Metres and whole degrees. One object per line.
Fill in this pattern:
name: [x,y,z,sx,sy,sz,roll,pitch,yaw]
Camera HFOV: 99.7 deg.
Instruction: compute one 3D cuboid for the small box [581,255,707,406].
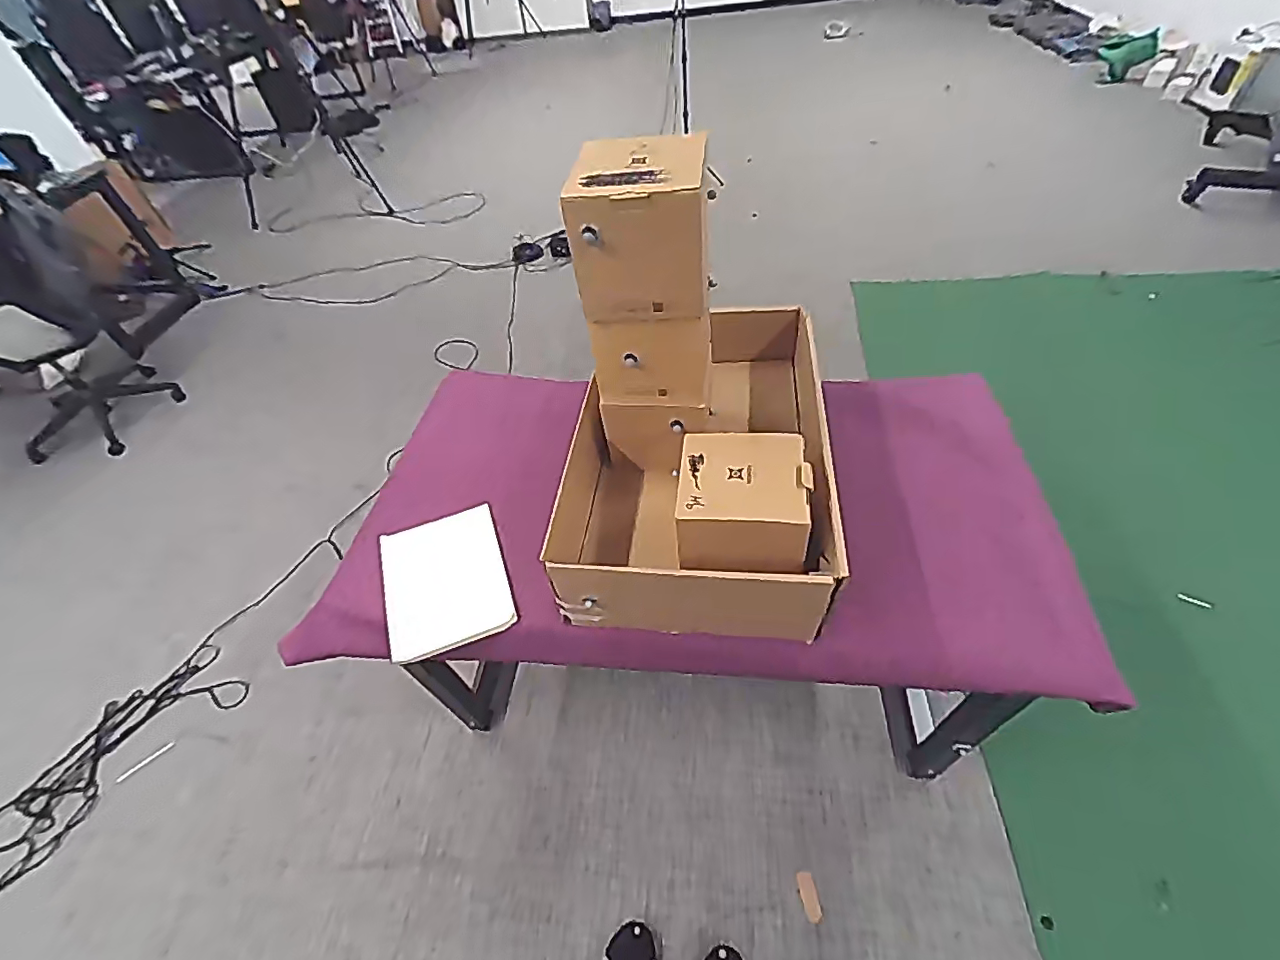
small box: [0.018,-0.234,0.861,0.168,0.176,0.179,3,50,10]
